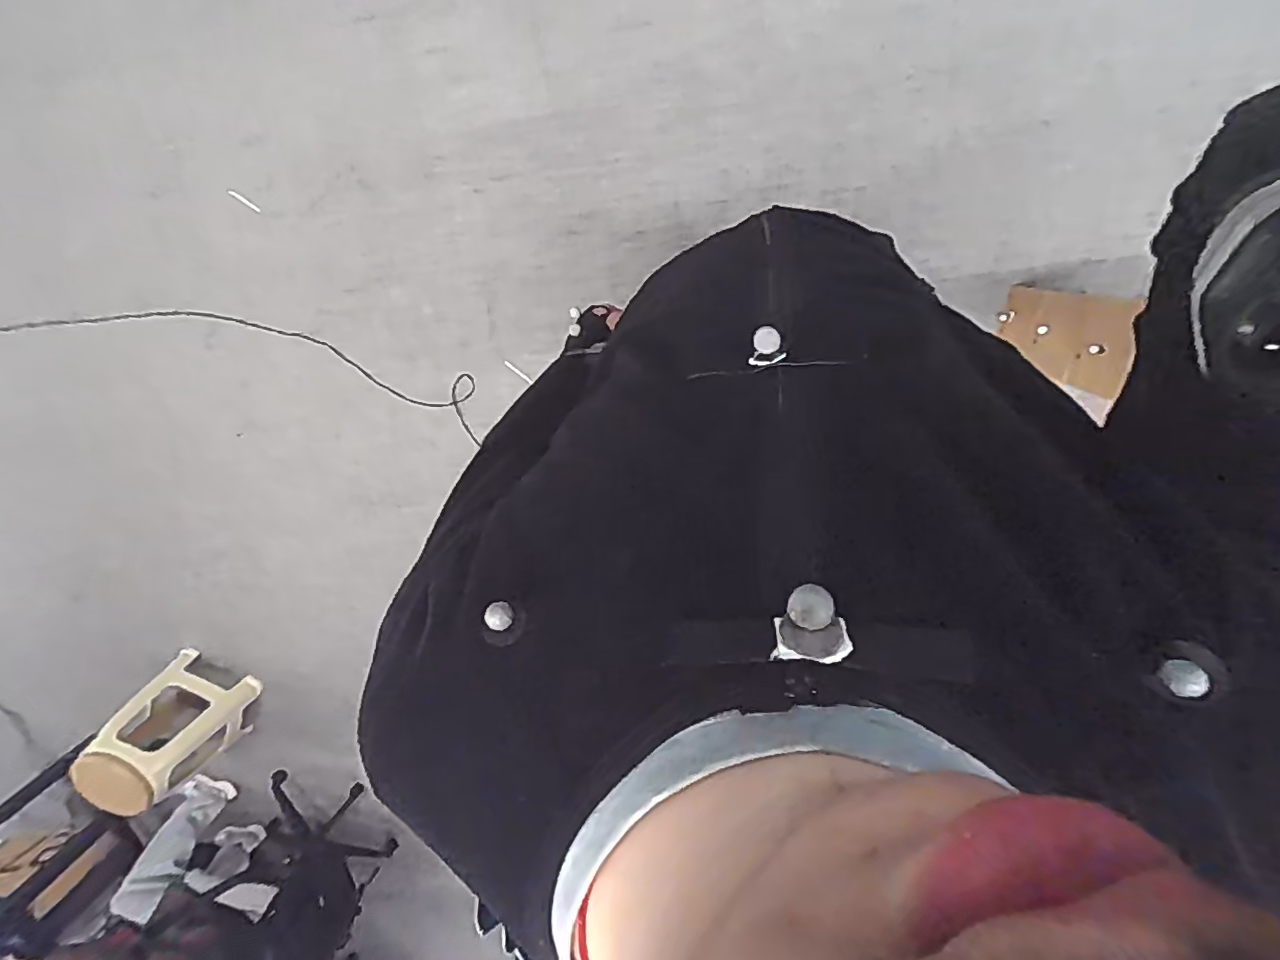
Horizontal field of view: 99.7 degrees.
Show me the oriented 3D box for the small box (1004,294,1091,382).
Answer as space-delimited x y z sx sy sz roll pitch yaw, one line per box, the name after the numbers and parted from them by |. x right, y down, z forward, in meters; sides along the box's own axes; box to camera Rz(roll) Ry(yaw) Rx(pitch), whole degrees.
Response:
0.924 -0.296 1.141 0.179 0.176 0.168 9 113 4 | small box

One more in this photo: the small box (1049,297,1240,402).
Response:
0.900 -0.243 0.989 0.179 0.176 0.168 1 112 7 | small box

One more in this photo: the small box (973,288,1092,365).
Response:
0.944 -0.362 1.291 0.179 0.176 0.168 8 113 5 | small box
